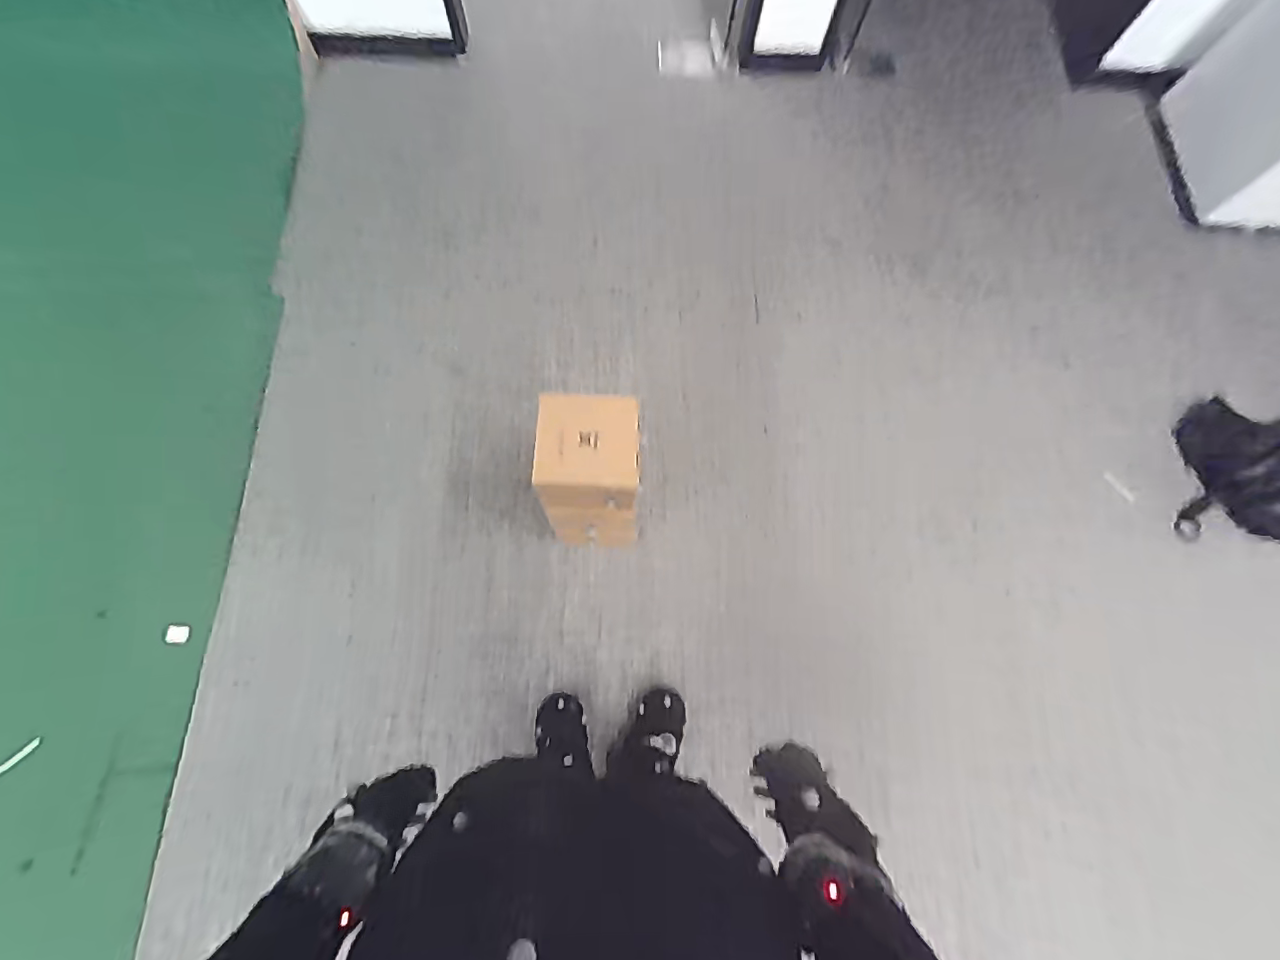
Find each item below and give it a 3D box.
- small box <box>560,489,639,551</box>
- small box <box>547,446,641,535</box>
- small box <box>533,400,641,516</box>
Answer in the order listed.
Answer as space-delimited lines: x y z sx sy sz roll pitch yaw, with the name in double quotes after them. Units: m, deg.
-0.096 0.074 1.300 0.179 0.176 0.168 1 73 -3 "small box"
-0.094 0.019 1.146 0.179 0.176 0.168 4 73 -2 "small box"
-0.091 -0.034 0.992 0.179 0.176 0.168 2 72 -1 "small box"
